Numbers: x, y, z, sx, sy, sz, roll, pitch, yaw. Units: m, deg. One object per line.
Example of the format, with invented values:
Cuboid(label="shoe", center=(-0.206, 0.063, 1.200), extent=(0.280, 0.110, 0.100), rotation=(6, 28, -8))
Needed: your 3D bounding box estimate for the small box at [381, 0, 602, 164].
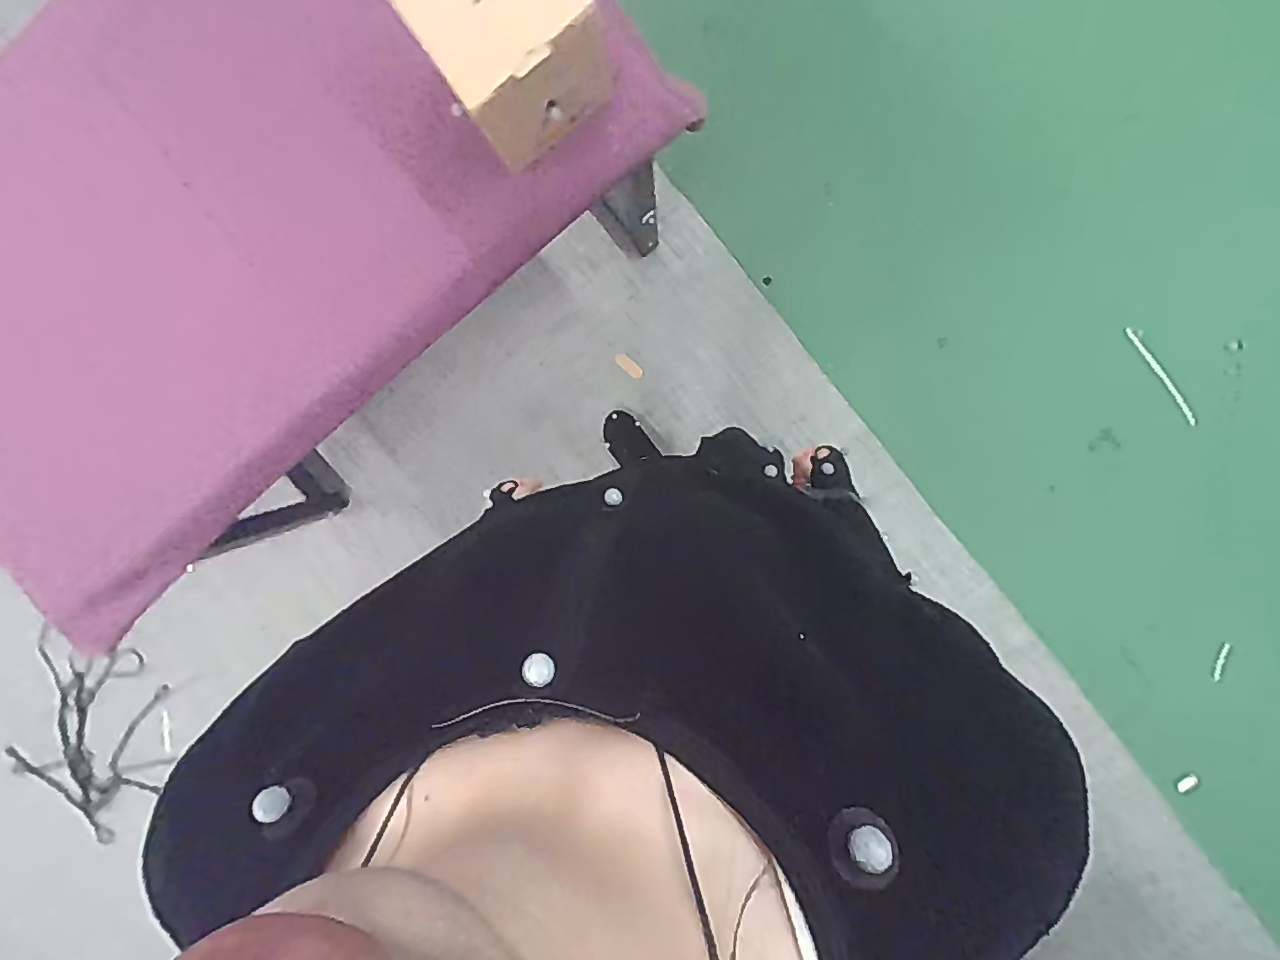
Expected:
Cuboid(label="small box", center=(-0.160, -0.501, 0.620), extent=(0.168, 0.176, 0.179), rotation=(-35, 96, 8))
